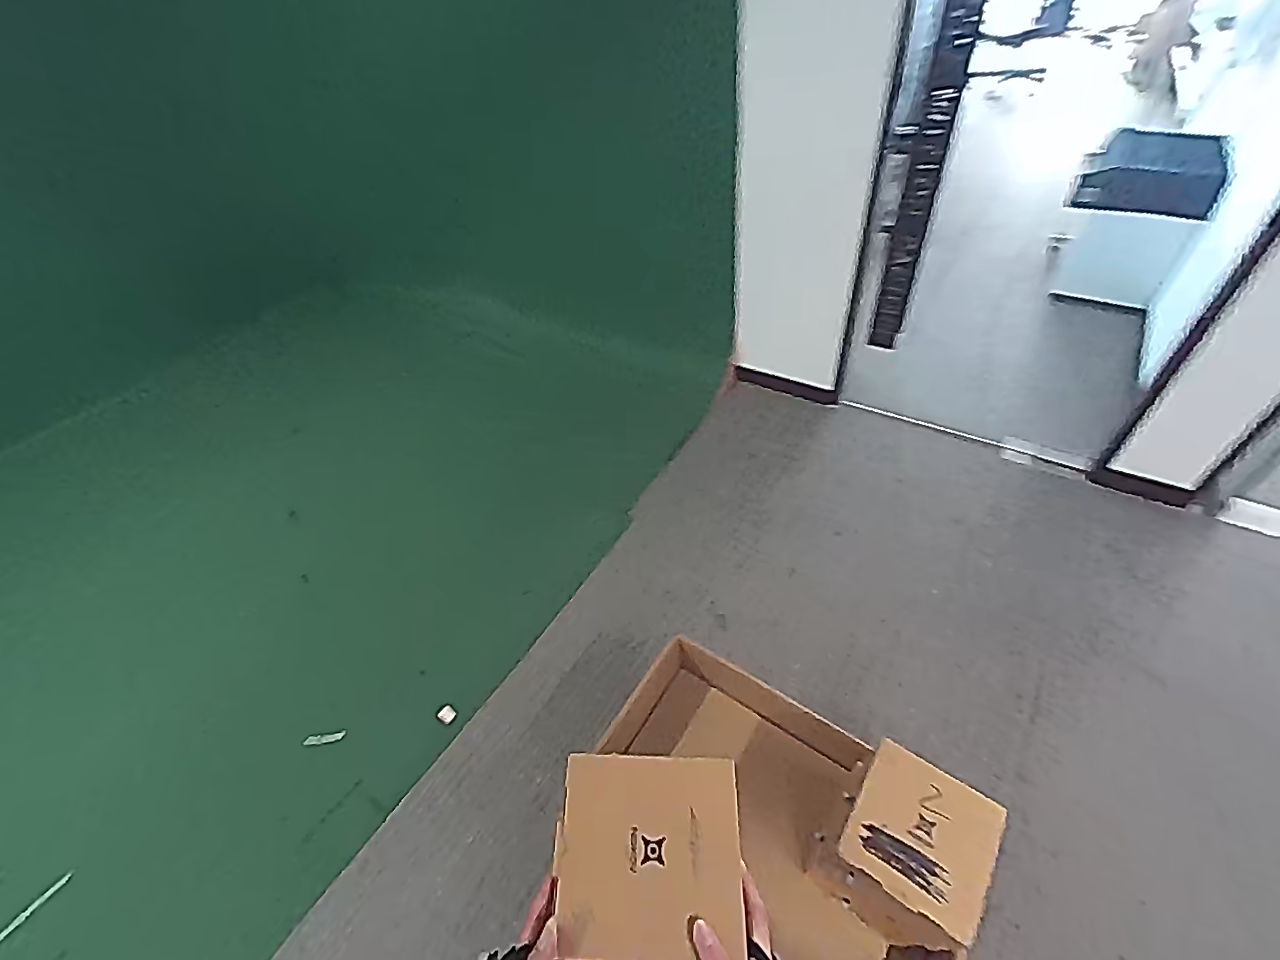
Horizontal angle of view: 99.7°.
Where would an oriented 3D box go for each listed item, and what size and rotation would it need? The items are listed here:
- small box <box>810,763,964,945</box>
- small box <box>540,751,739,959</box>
[{"bbox_3d":[0.396,0.615,0.893,0.168,0.176,0.179,26,58,27],"label":"small box"},{"bbox_3d":[0.003,0.398,0.576,0.179,0.176,0.168,1,53,1],"label":"small box"}]
